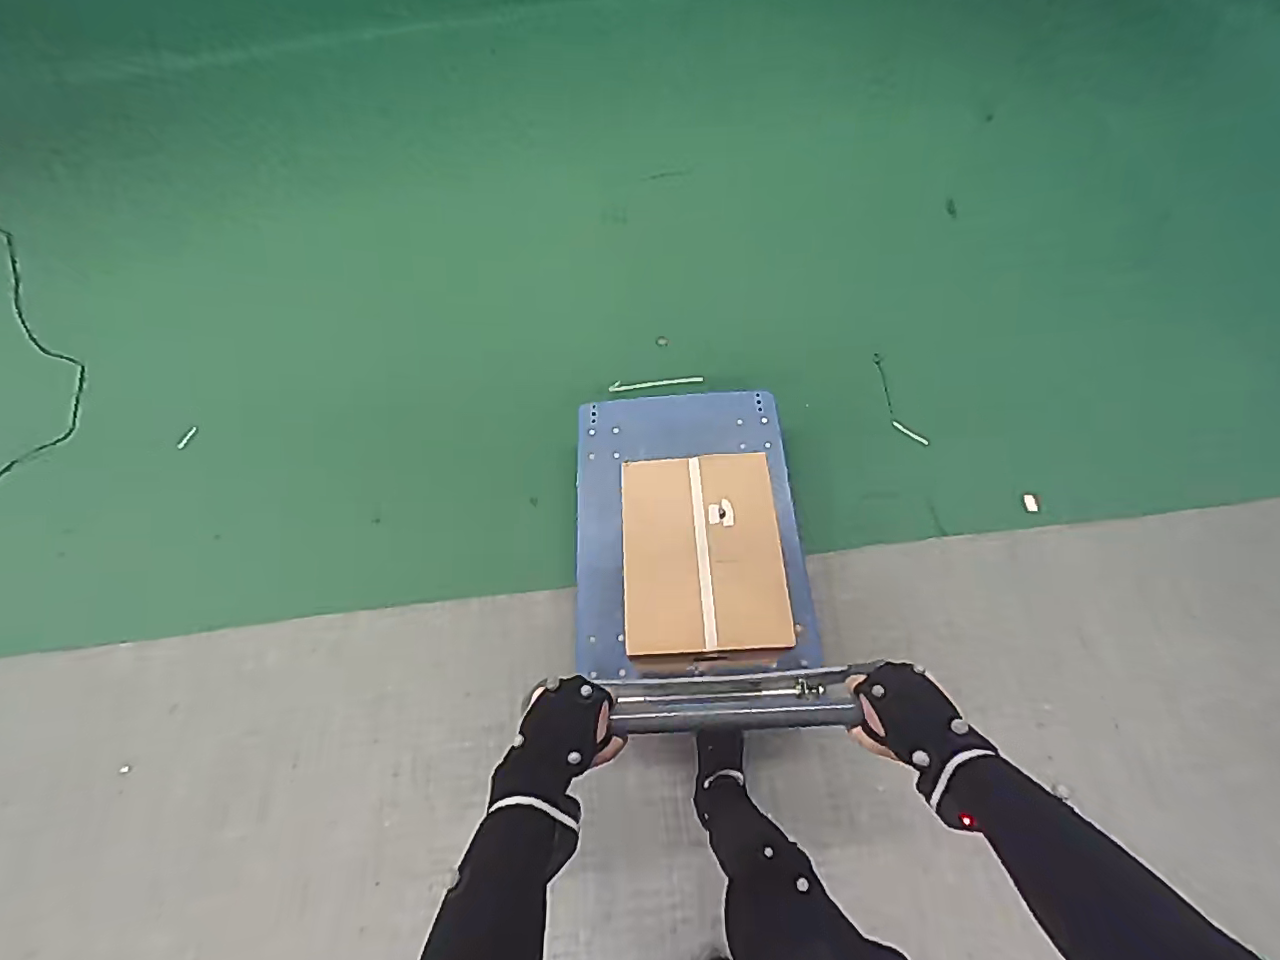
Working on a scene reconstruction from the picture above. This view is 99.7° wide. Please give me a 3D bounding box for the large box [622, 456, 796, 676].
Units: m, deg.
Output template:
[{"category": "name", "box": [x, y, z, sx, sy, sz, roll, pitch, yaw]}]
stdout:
[{"category": "large box", "box": [0.136, 0.202, 1.212, 0.320, 0.320, 0.408, -4, 63, 2]}]
